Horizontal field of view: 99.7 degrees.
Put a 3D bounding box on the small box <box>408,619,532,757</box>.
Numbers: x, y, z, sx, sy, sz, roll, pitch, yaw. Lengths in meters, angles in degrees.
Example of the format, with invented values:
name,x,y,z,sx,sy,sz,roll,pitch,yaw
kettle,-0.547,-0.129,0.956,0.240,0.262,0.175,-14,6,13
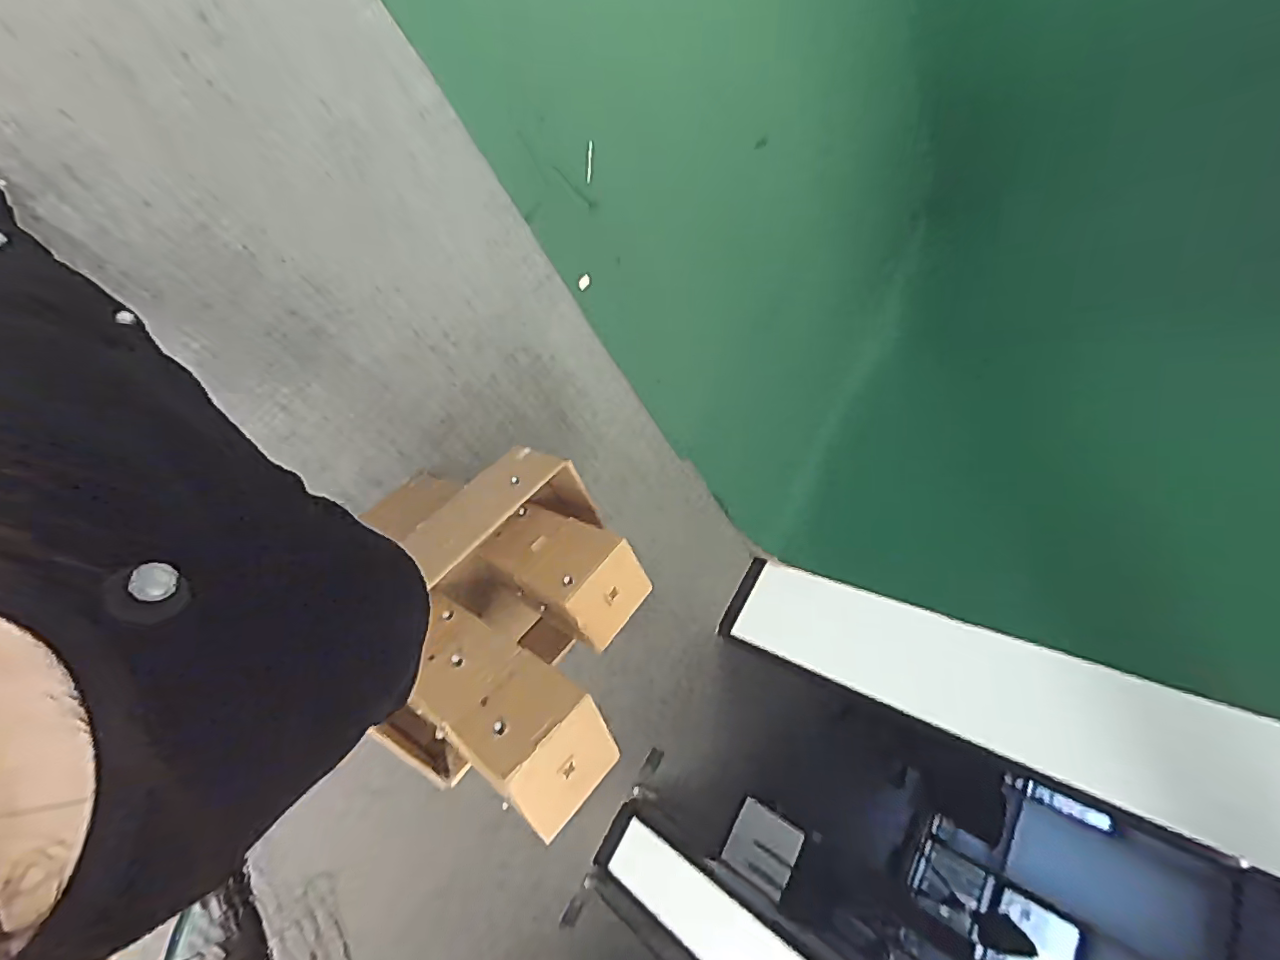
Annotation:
name,x,y,z,sx,sy,sz,roll,pitch,yaw
small box,-0.281,0.373,0.971,0.168,0.176,0.179,-40,127,-31

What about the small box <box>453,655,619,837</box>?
name,x,y,z,sx,sy,sz,roll,pitch,yaw
small box,-0.165,0.406,0.860,0.168,0.176,0.179,-39,128,-31

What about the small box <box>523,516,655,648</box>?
name,x,y,z,sx,sy,sz,roll,pitch,yaw
small box,-0.104,0.199,1.106,0.179,0.176,0.168,-46,130,-25
